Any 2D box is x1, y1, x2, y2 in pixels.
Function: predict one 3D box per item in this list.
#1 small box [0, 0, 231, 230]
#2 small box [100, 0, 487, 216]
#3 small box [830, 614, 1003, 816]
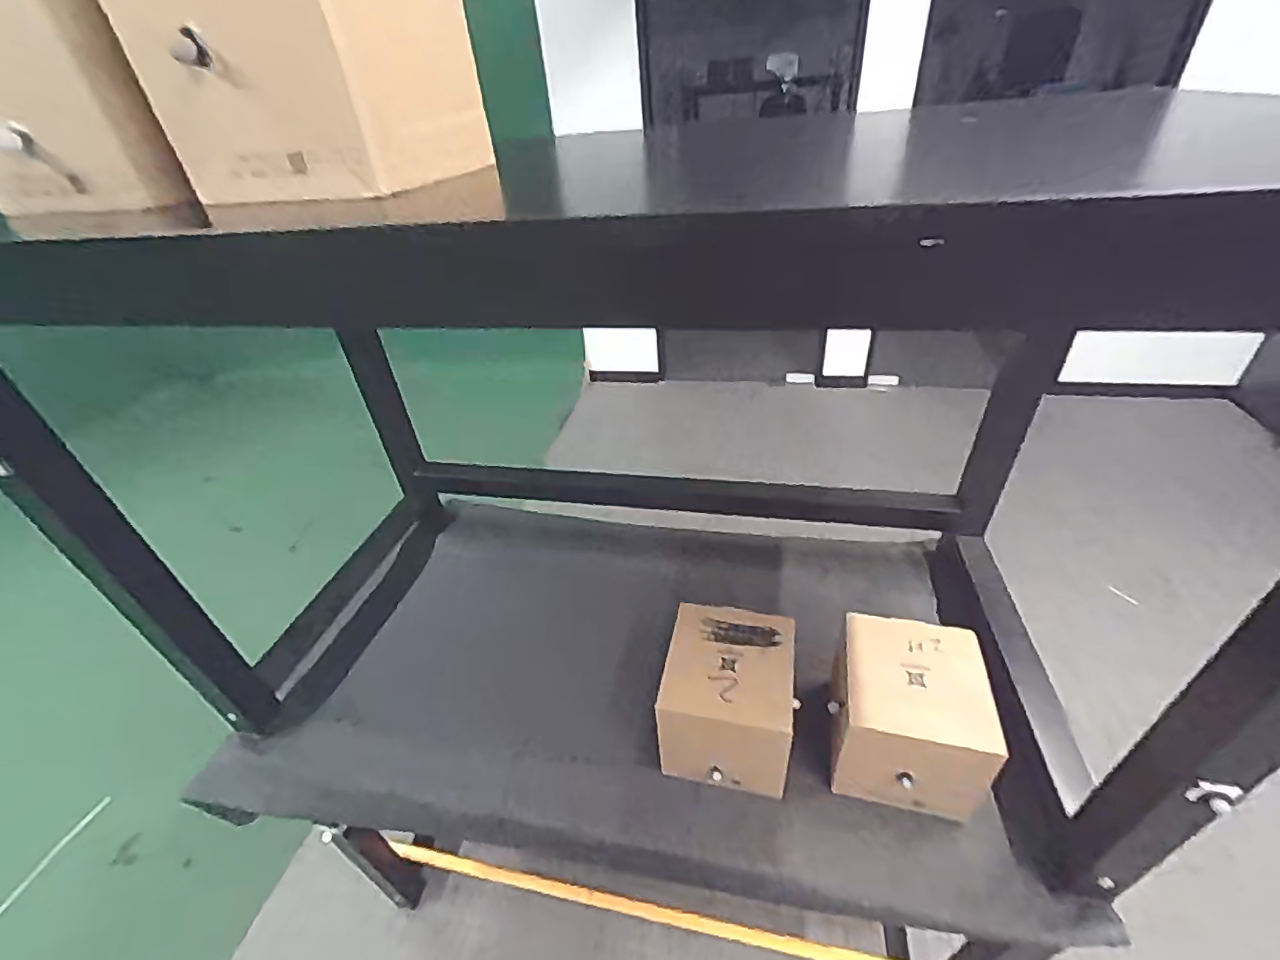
[{"bbox_3d":[-0.433,-0.321,0.457,0.168,0.176,0.179,5,38,13],"label":"small box"},{"bbox_3d":[-0.241,-0.309,0.419,0.168,0.176,0.179,5,37,14],"label":"small box"},{"bbox_3d":[0.352,0.312,0.723,0.168,0.176,0.179,6,36,15],"label":"small box"}]
